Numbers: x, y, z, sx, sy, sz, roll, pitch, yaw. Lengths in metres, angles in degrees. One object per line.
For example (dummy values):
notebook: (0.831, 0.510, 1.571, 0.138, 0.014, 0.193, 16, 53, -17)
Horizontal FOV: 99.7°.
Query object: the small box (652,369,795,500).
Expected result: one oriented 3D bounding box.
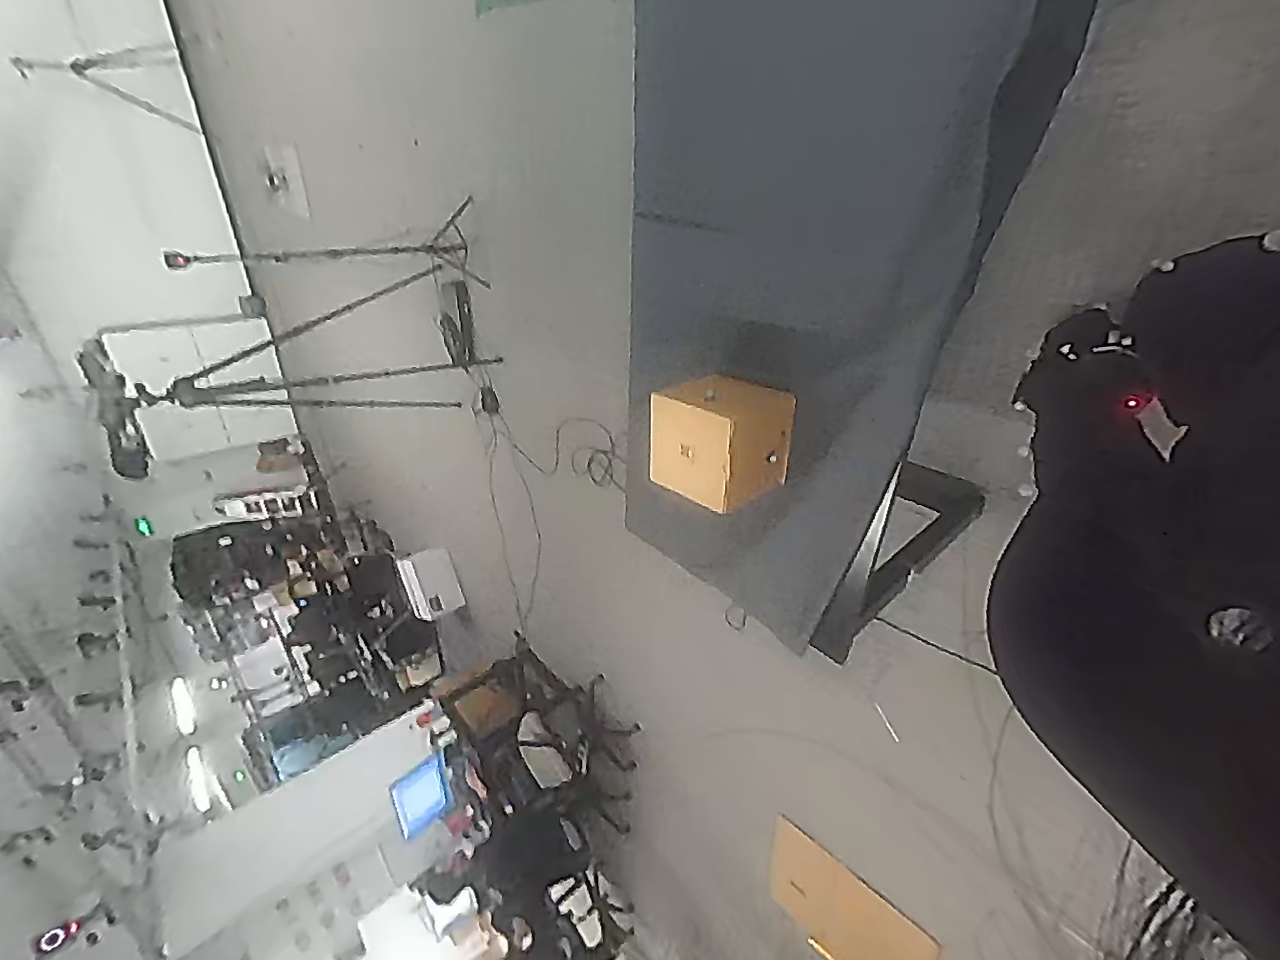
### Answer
small box: (0.141, -0.090, 0.943, 0.179, 0.176, 0.168, 26, 126, 40)
